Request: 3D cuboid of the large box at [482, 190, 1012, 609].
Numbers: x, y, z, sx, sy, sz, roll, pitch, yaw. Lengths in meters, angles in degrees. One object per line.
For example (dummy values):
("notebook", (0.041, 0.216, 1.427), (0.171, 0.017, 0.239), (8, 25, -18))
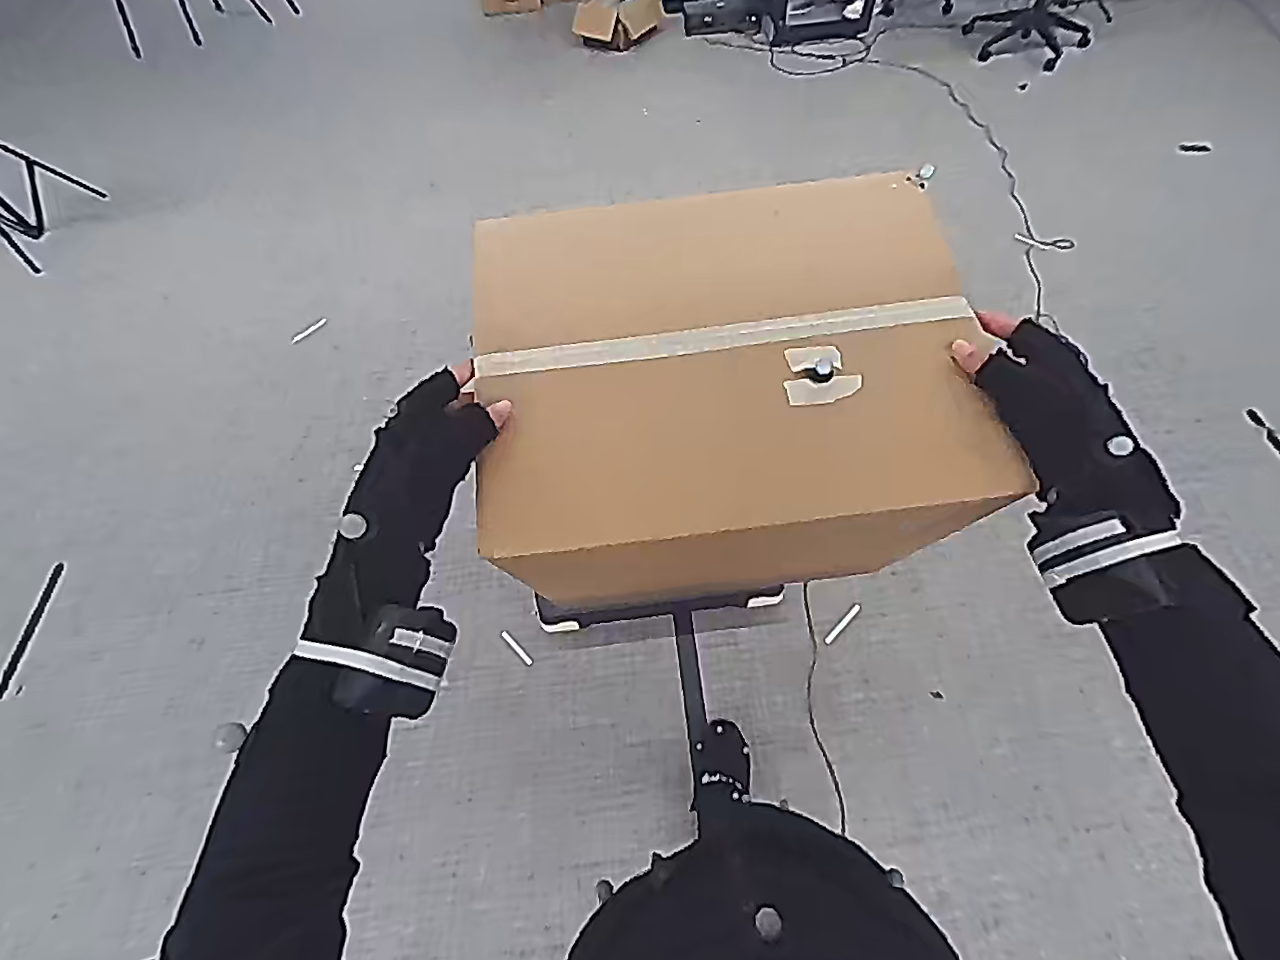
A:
("large box", (0.071, -0.057, 0.596), (0.408, 0.320, 0.320), (-7, 70, -1))
